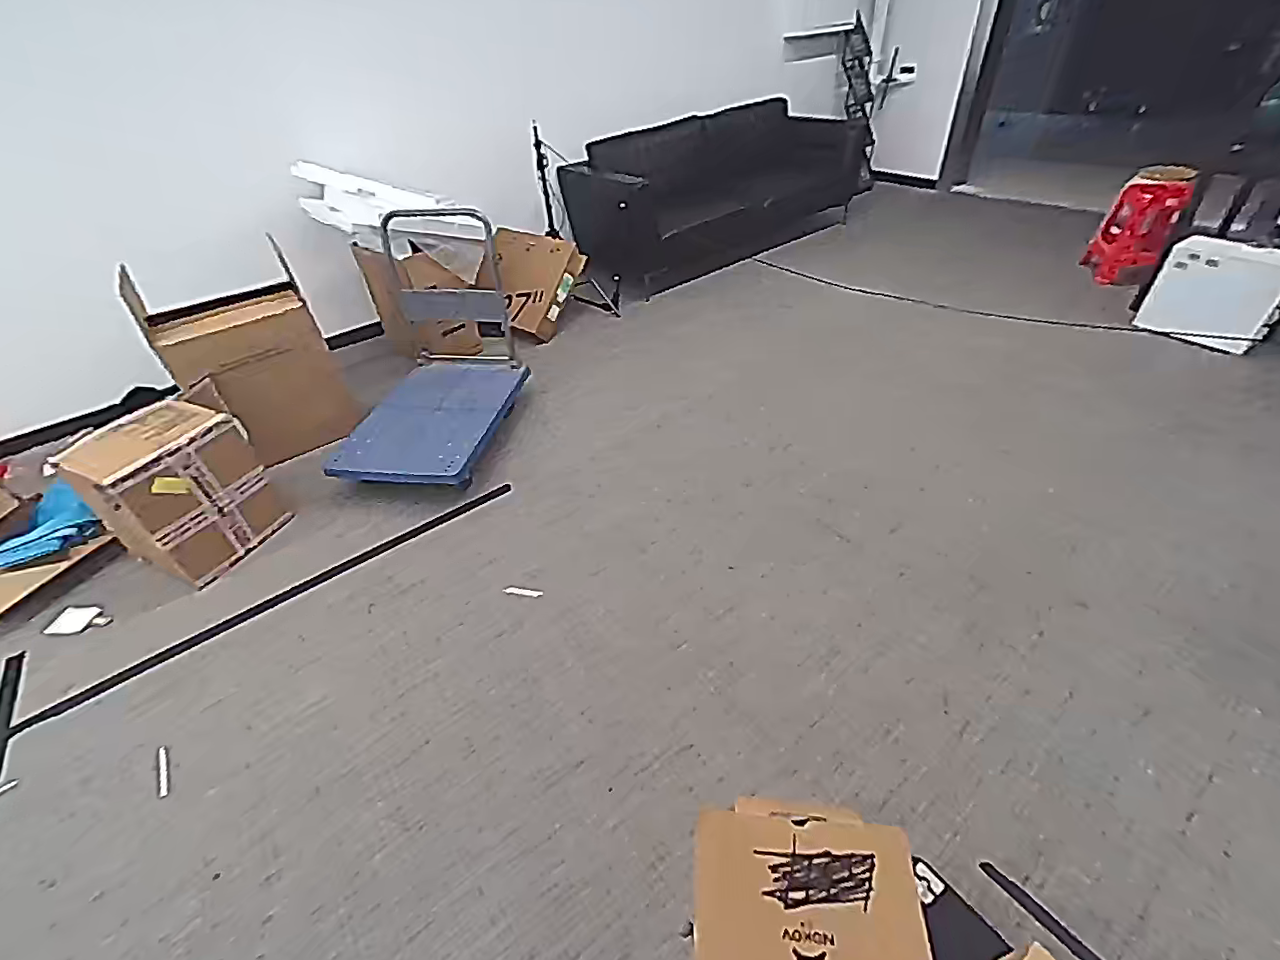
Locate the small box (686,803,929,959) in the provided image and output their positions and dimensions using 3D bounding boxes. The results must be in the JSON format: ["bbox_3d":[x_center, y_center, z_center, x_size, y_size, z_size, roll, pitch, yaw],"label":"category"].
[{"bbox_3d":[0.120,0.388,0.428,0.168,0.176,0.179,2,43,7],"label":"small box"}]

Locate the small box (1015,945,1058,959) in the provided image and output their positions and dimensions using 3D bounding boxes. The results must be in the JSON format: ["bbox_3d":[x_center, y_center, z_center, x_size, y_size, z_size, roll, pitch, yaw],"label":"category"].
[{"bbox_3d":[0.555,0.800,0.740,0.179,0.176,0.168,-27,44,-24],"label":"small box"}]
